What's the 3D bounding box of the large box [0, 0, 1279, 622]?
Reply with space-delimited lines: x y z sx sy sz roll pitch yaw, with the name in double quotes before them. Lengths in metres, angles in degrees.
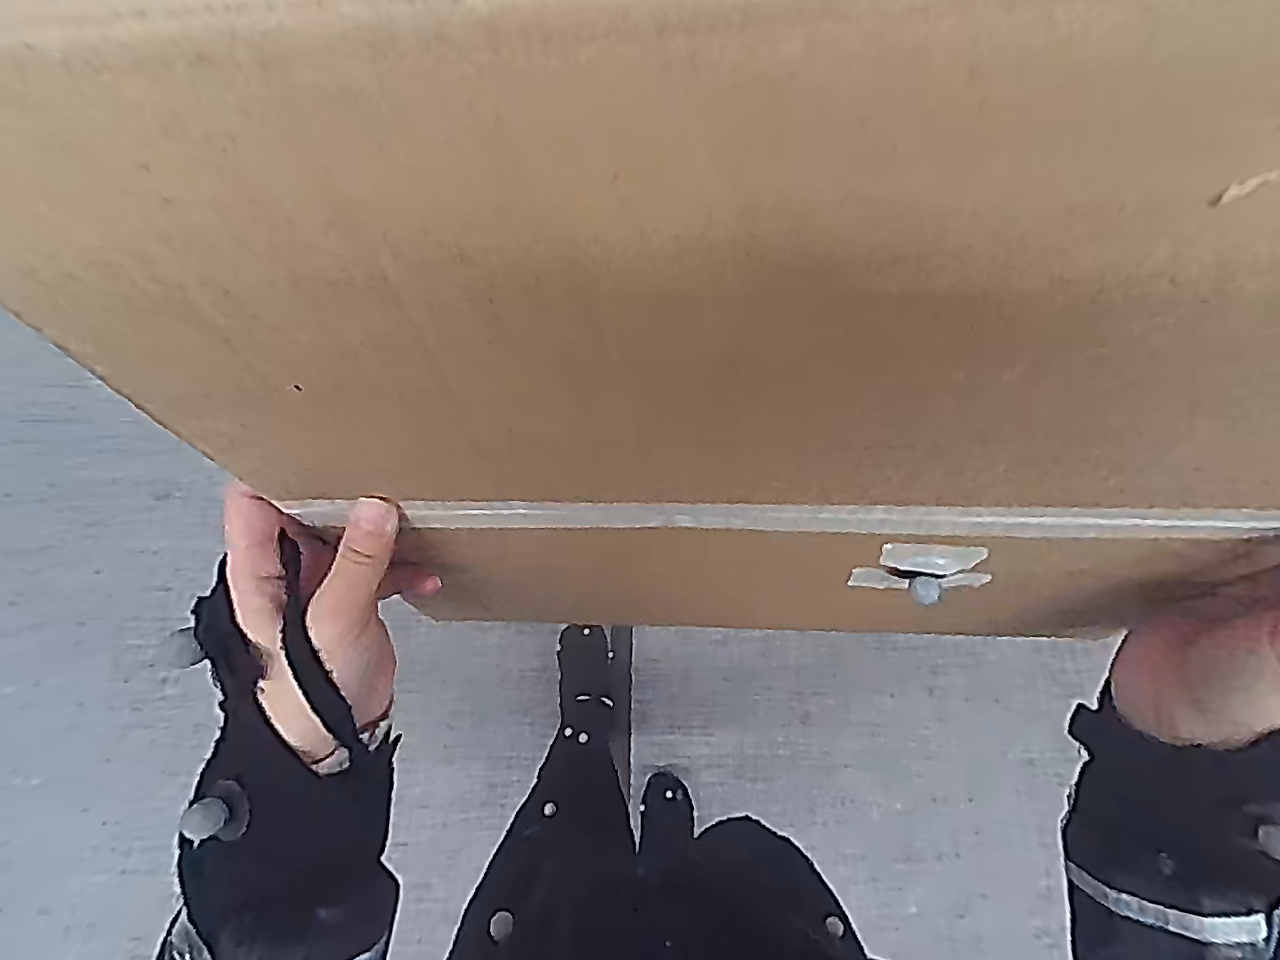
"large box" 0.050 -0.119 0.294 0.408 0.320 0.320 -1 59 5
